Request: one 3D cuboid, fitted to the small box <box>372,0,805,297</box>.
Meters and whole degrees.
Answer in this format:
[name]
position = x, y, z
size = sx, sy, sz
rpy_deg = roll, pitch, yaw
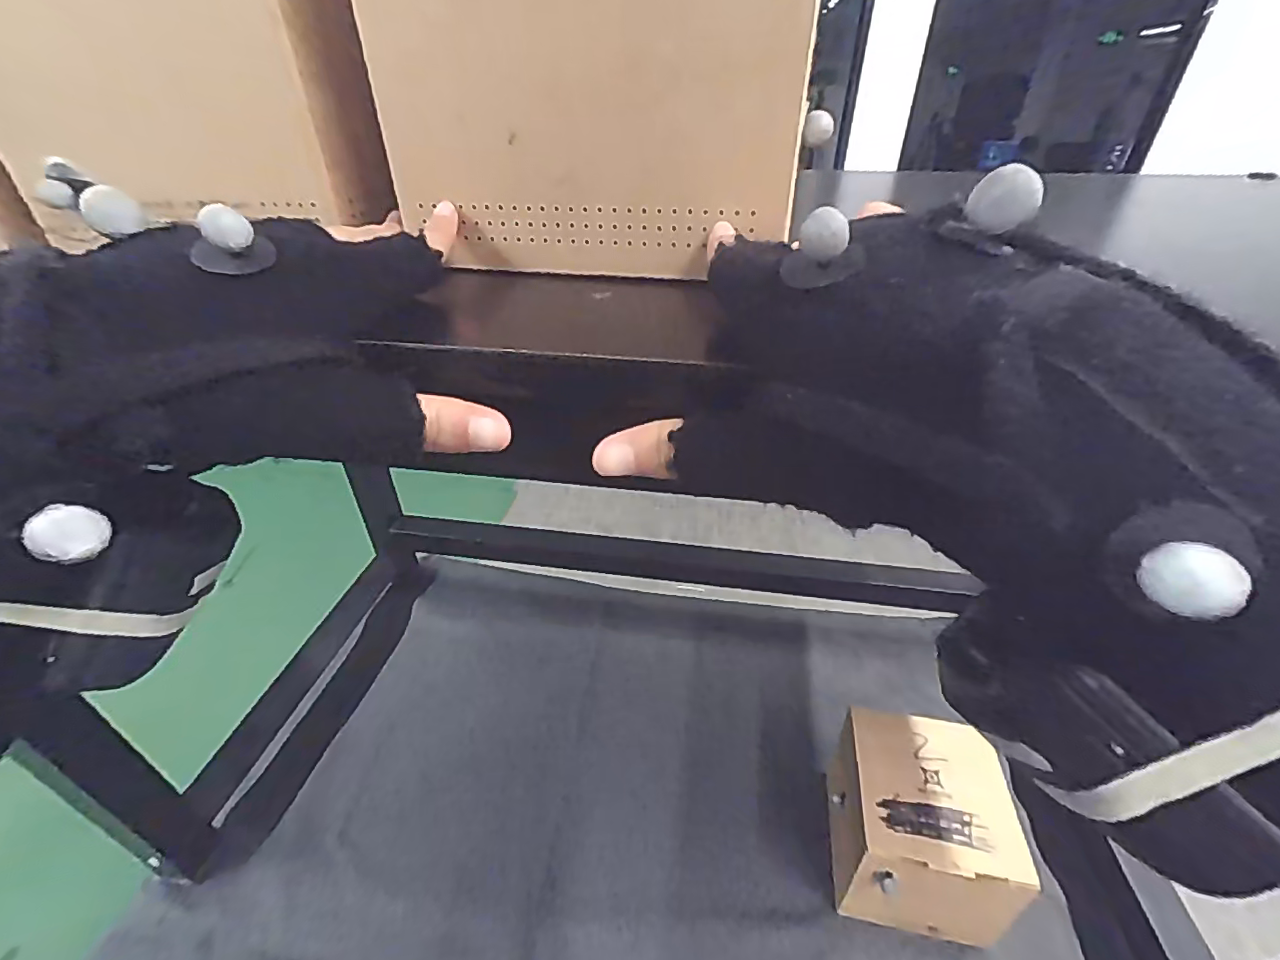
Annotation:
[small box]
position = -0.012, -0.198, 0.271
size = 0.179, 0.176, 0.168
rpy_deg = 7, 35, 10
